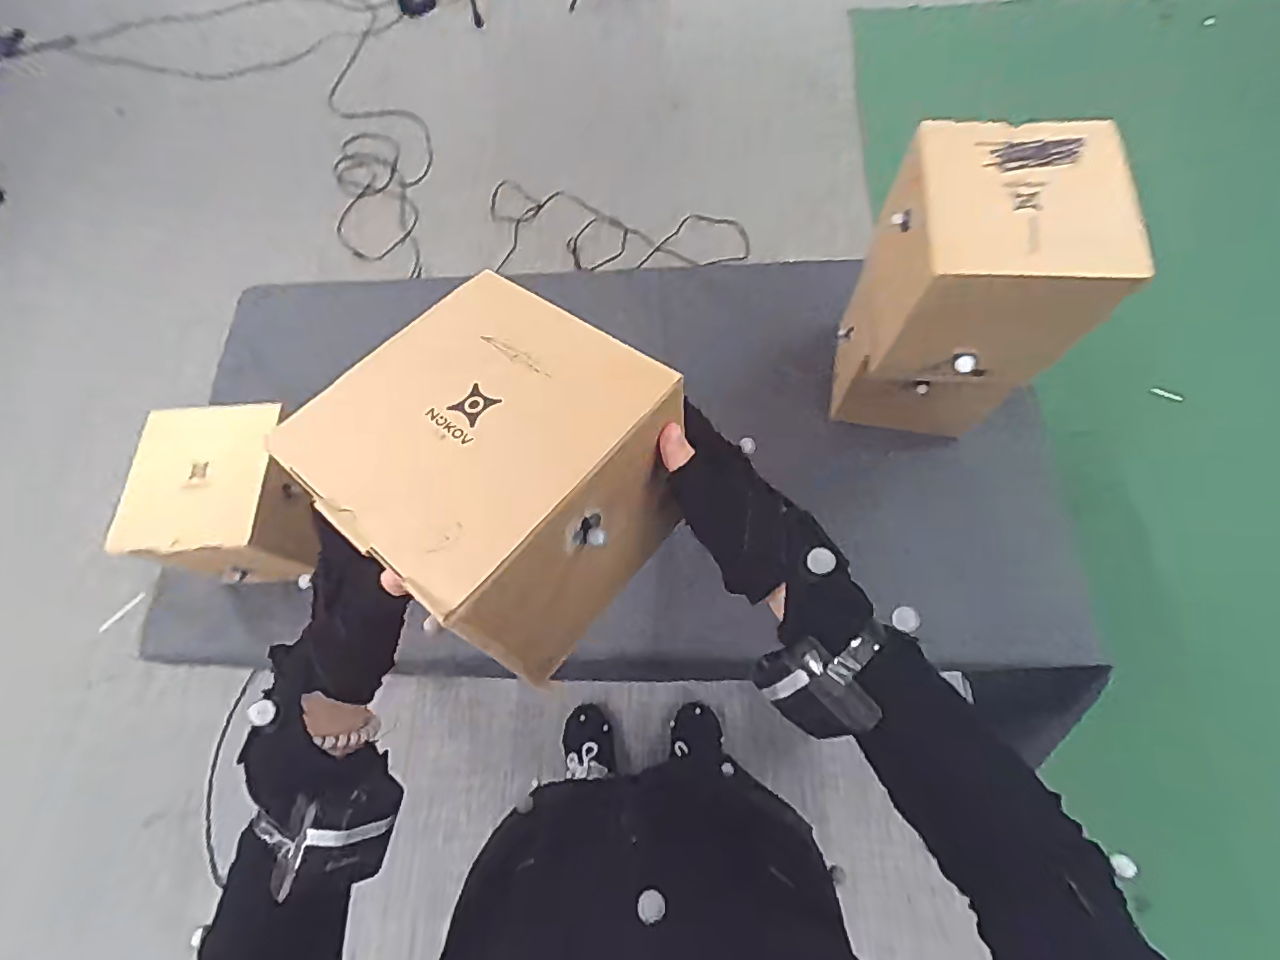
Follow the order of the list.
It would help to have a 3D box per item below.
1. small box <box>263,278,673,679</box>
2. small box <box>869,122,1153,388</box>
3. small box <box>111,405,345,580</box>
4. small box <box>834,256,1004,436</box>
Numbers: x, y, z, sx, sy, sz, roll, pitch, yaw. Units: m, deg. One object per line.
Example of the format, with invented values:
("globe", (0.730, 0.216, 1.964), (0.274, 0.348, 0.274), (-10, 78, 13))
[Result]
("small box", (-0.088, 0.006, 0.367), (0.168, 0.176, 0.179), (33, 68, 23))
("small box", (0.336, -0.213, 0.534), (0.168, 0.176, 0.179), (4, 71, 7))
("small box", (-0.490, 0.023, 0.687), (0.168, 0.176, 0.179), (-3, 69, 3))
("small box", (0.360, -0.171, 0.692), (0.179, 0.176, 0.168), (10, 71, 9))
